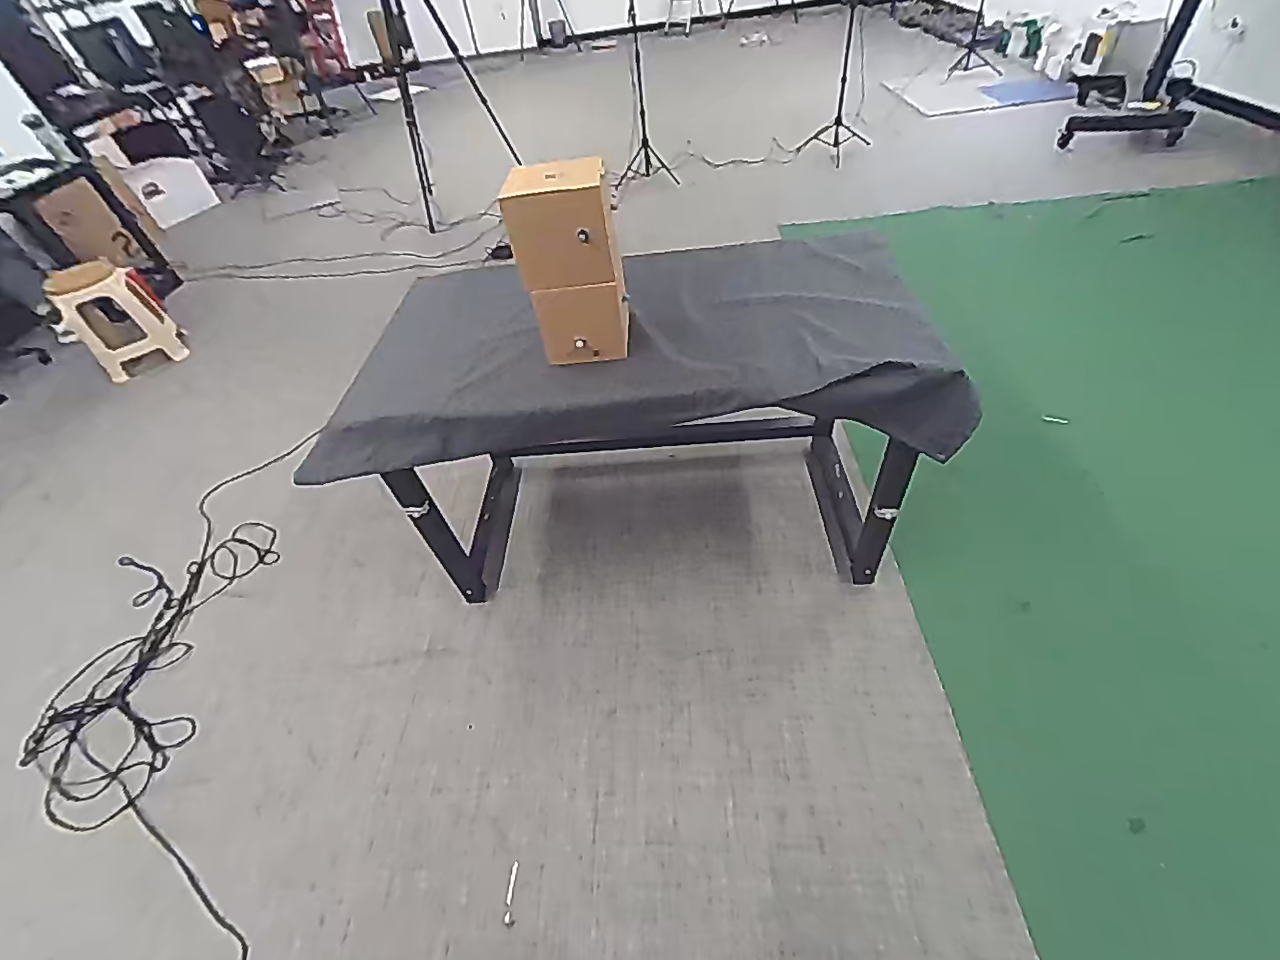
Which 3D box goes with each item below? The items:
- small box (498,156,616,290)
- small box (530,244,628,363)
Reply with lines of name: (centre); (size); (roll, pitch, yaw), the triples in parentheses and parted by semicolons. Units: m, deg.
small box: (-0.142, -0.474, 1.004); (0.179, 0.176, 0.168); (-6, 46, 5)
small box: (-0.117, -0.365, 1.122); (0.168, 0.176, 0.179); (-4, 47, 5)
